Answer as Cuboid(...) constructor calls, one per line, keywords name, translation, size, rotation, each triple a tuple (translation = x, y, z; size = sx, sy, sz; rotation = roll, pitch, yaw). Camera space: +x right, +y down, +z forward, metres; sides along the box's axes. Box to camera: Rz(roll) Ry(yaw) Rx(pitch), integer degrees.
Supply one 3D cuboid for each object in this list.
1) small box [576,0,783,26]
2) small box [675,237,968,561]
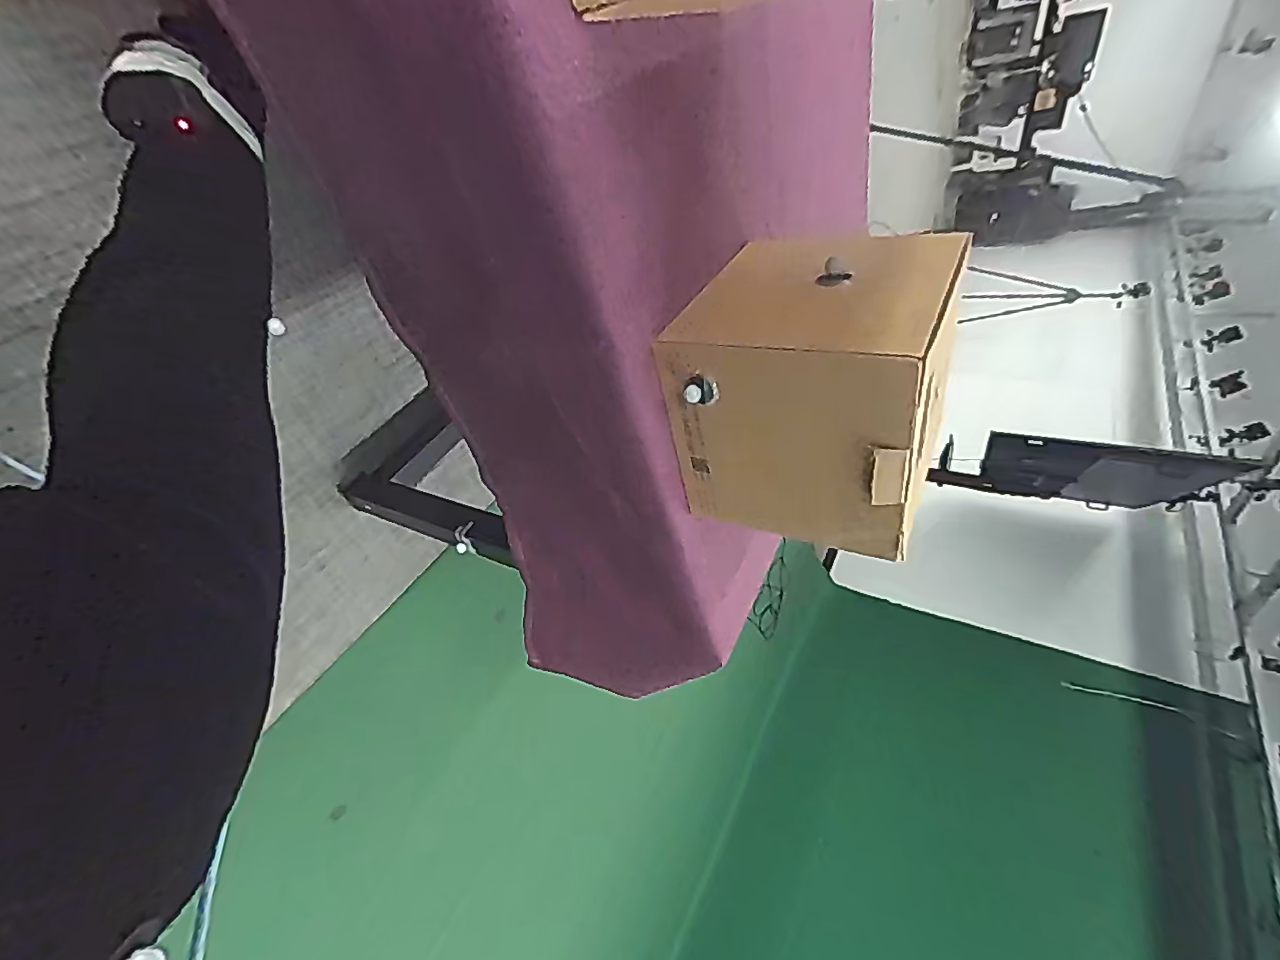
Cuboid(name="small box", translation=(0.067, -0.313, 0.223), size=(0.179, 0.176, 0.168), rotation=(-48, 138, -38))
Cuboid(name="small box", translation=(0.137, -0.070, 0.420), size=(0.179, 0.176, 0.168), rotation=(-53, 141, -36))
